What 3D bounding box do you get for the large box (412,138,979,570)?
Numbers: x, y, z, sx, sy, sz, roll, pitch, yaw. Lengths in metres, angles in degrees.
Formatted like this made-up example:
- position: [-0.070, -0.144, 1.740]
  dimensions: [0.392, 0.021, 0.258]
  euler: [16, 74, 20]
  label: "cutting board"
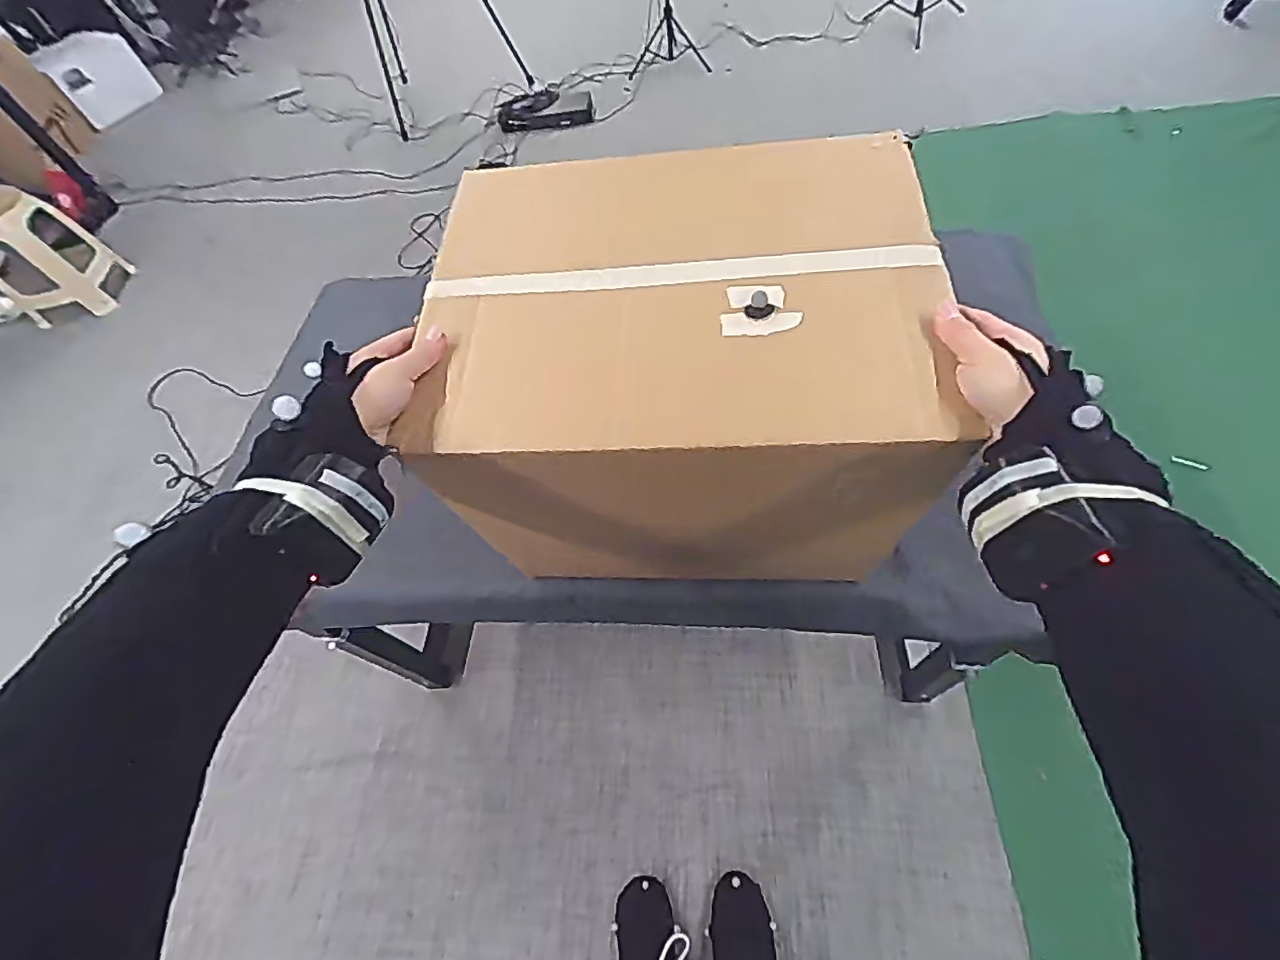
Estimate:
- position: [0.045, -0.100, 0.572]
  dimensions: [0.408, 0.320, 0.320]
  euler: [-1, 64, 6]
  label: "large box"
